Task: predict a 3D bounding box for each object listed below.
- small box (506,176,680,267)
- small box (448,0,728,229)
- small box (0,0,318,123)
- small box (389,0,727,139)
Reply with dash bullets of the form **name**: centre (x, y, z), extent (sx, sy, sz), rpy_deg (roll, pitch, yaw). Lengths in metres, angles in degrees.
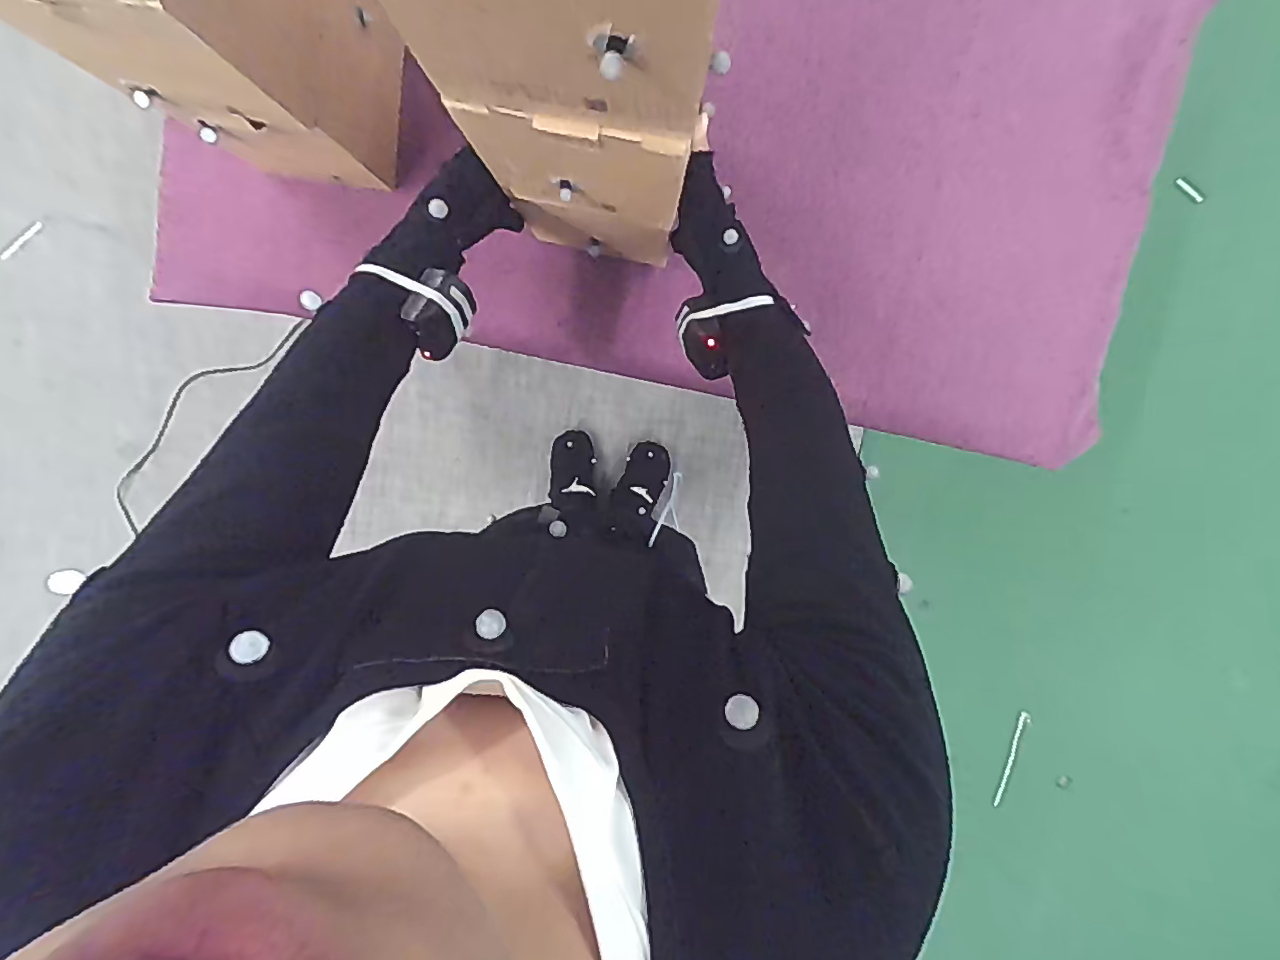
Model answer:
- **small box**: centre (-0.030, -0.350, 0.578), extent (0.168, 0.176, 0.179), rpy_deg (13, 100, -2)
- **small box**: centre (-0.029, -0.321, 0.417), extent (0.168, 0.176, 0.179), rpy_deg (11, 101, -2)
- **small box**: centre (-0.369, -0.410, 0.405), extent (0.168, 0.176, 0.179), rpy_deg (12, 99, -5)
- **small box**: centre (-0.029, -0.298, 0.256), extent (0.168, 0.176, 0.179), rpy_deg (10, 100, -3)
